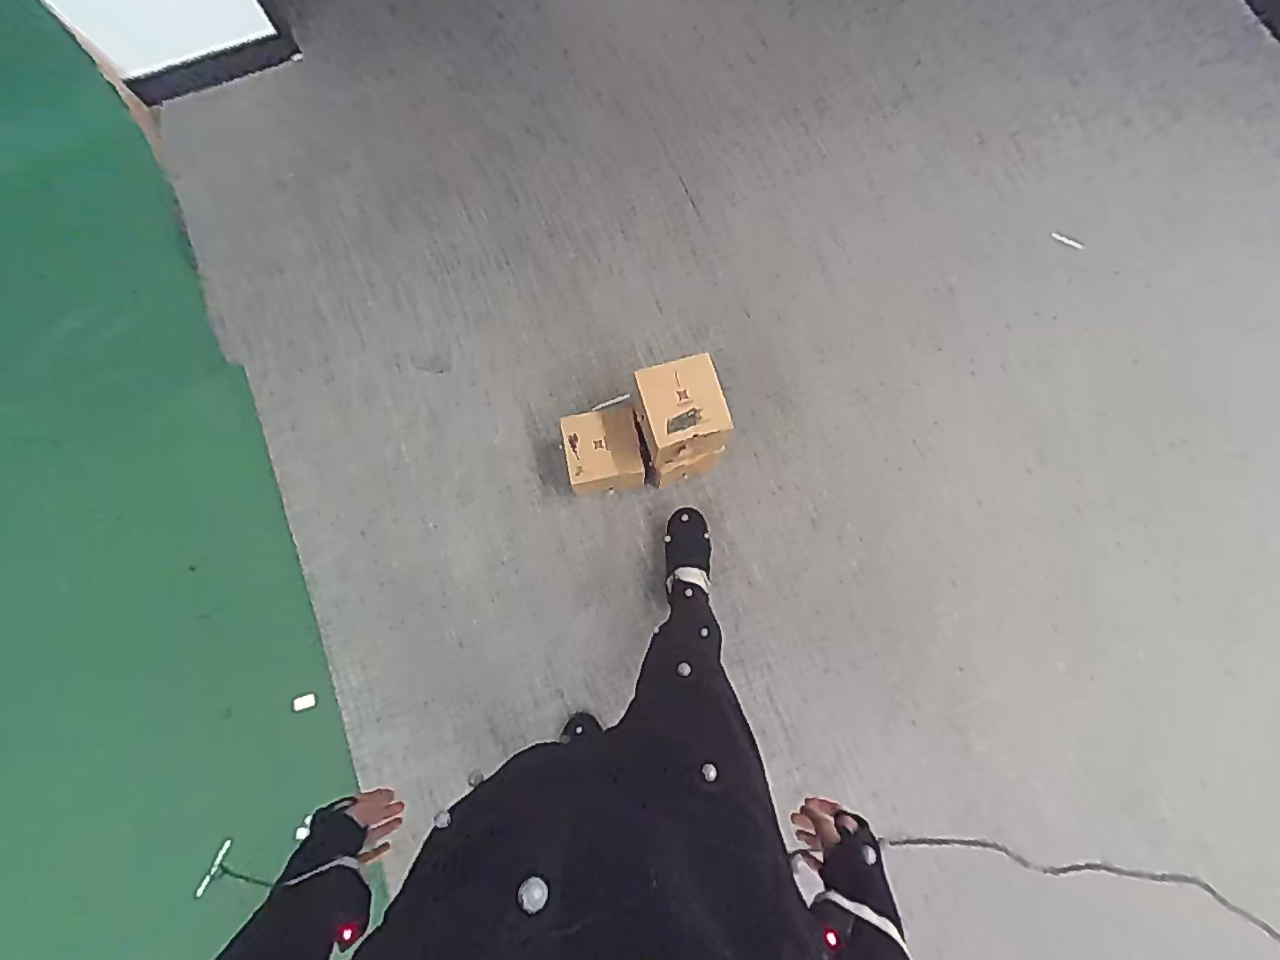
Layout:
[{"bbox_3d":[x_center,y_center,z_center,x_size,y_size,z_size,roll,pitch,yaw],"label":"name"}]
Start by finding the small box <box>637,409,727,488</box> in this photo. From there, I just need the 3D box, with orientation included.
[{"bbox_3d":[0.095,-0.099,1.343,0.168,0.176,0.179,-21,80,-5],"label":"small box"}]

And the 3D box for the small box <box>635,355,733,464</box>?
[{"bbox_3d":[0.090,-0.143,1.184,0.168,0.176,0.179,-16,79,-4],"label":"small box"}]
